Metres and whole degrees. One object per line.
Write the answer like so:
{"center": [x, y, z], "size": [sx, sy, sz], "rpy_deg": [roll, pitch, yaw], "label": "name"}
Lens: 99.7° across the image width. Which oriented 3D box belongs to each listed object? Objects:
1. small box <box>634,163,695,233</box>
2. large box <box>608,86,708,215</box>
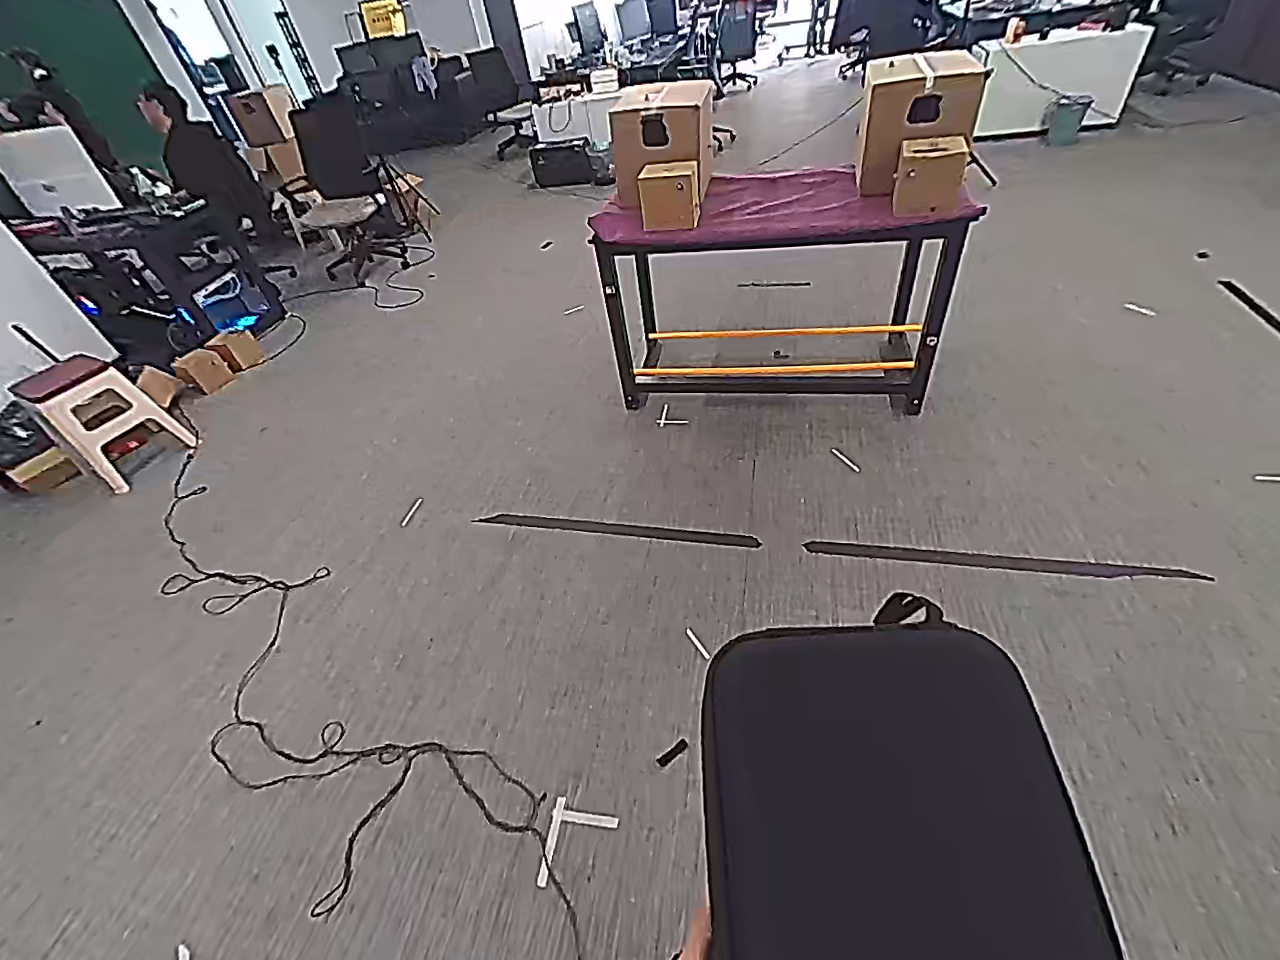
{"center": [0.088, -0.946, 1.821], "size": [0.179, 0.176, 0.168], "rpy_deg": [2, 43, 11], "label": "small box"}
{"center": [0.086, -1.233, 2.019], "size": [0.320, 0.320, 0.408], "rpy_deg": [3, 47, 12], "label": "large box"}
